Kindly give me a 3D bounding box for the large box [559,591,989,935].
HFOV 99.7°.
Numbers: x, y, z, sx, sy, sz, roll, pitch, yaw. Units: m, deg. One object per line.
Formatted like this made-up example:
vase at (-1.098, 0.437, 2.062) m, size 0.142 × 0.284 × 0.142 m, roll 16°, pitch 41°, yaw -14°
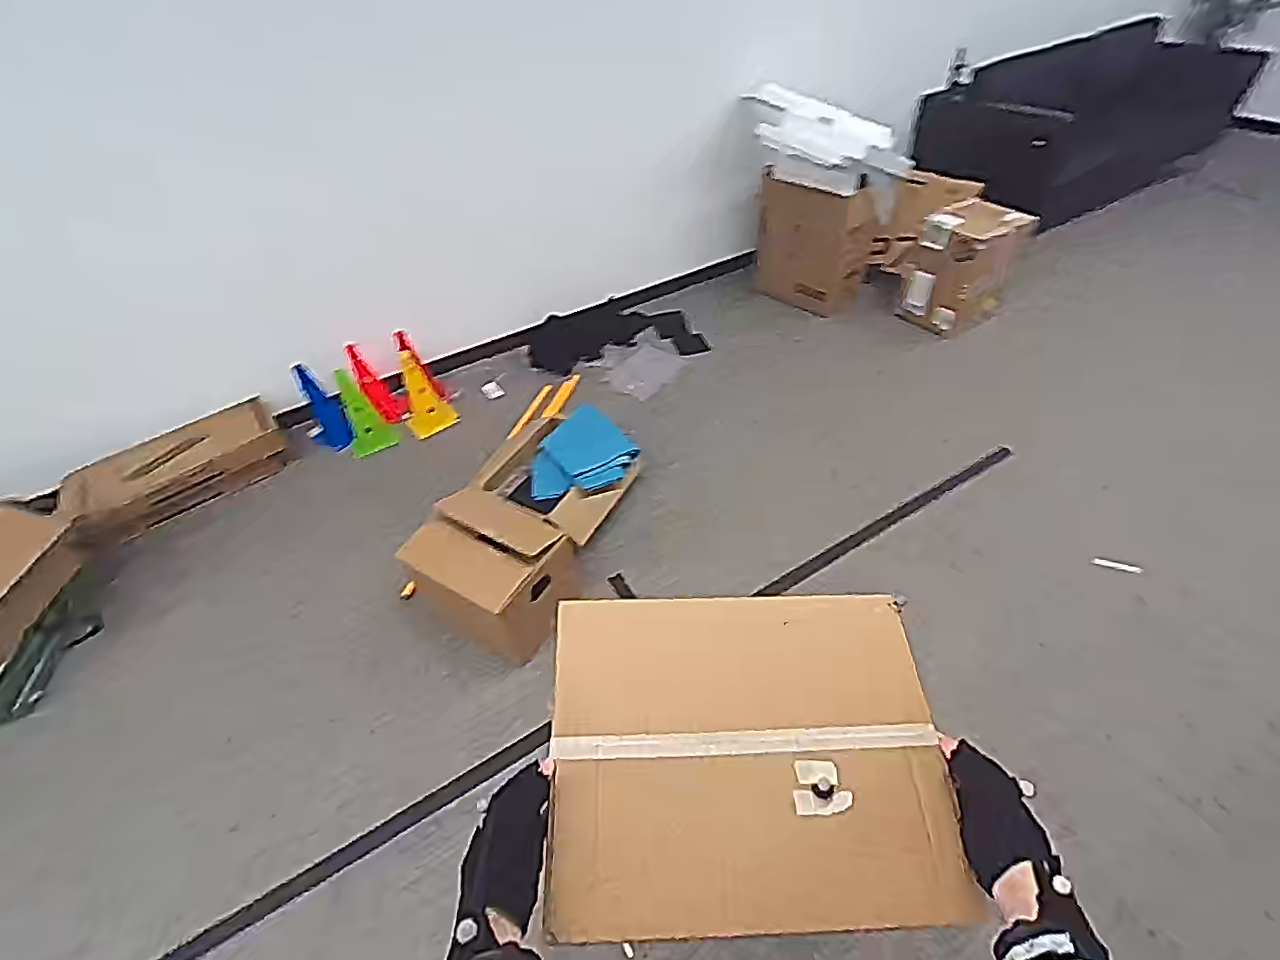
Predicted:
large box at (0.112, 0.347, 0.689) m, size 0.408 × 0.320 × 0.320 m, roll 0°, pitch 58°, yaw -3°
